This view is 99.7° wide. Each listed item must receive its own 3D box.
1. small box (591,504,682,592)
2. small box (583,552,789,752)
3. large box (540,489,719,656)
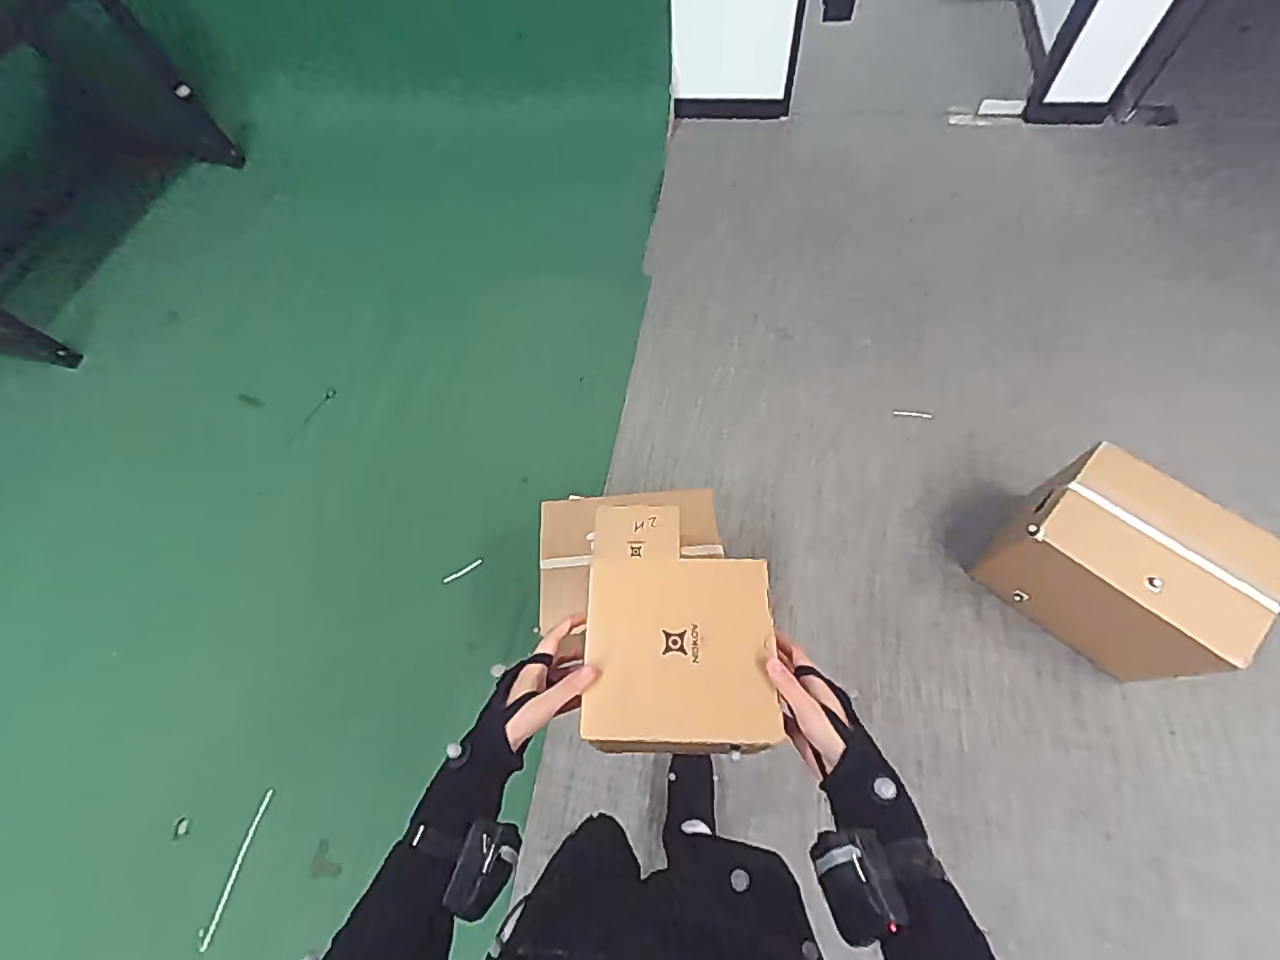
[{"bbox_3d":[0.000,0.159,1.085,0.168,0.176,0.179,0,65,4],"label":"small box"},{"bbox_3d":[0.040,0.184,0.560,0.179,0.176,0.168,1,59,0],"label":"small box"},{"bbox_3d":[-0.009,0.240,1.322,0.408,0.320,0.320,-6,63,3],"label":"large box"}]
